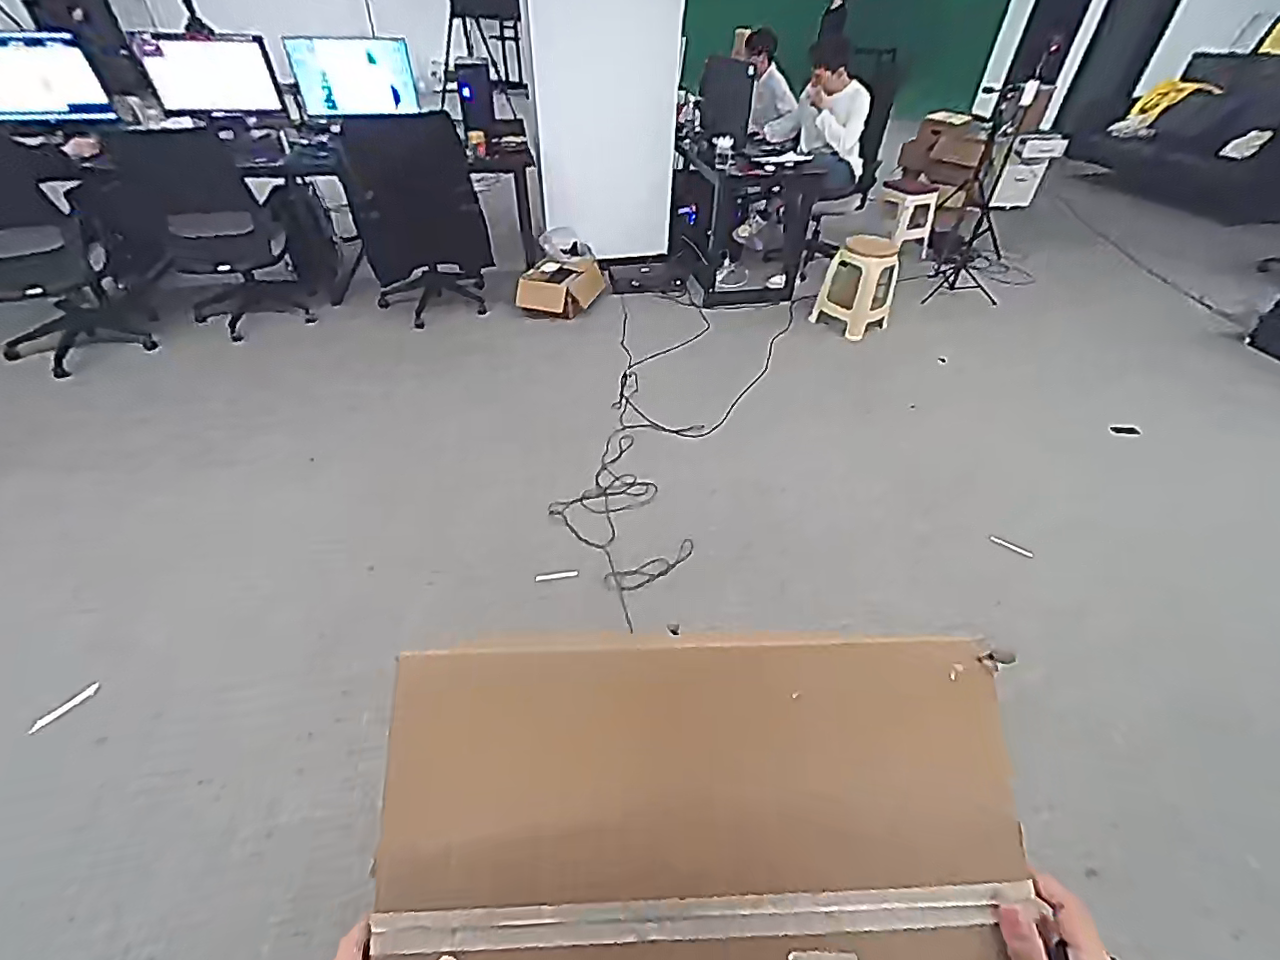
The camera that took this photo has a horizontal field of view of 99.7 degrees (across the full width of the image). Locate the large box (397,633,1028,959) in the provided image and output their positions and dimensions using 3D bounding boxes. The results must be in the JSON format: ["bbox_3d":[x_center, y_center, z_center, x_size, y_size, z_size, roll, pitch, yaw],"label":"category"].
[{"bbox_3d":[0.039,0.307,0.489,0.408,0.320,0.320,-1,76,-3],"label":"large box"}]
